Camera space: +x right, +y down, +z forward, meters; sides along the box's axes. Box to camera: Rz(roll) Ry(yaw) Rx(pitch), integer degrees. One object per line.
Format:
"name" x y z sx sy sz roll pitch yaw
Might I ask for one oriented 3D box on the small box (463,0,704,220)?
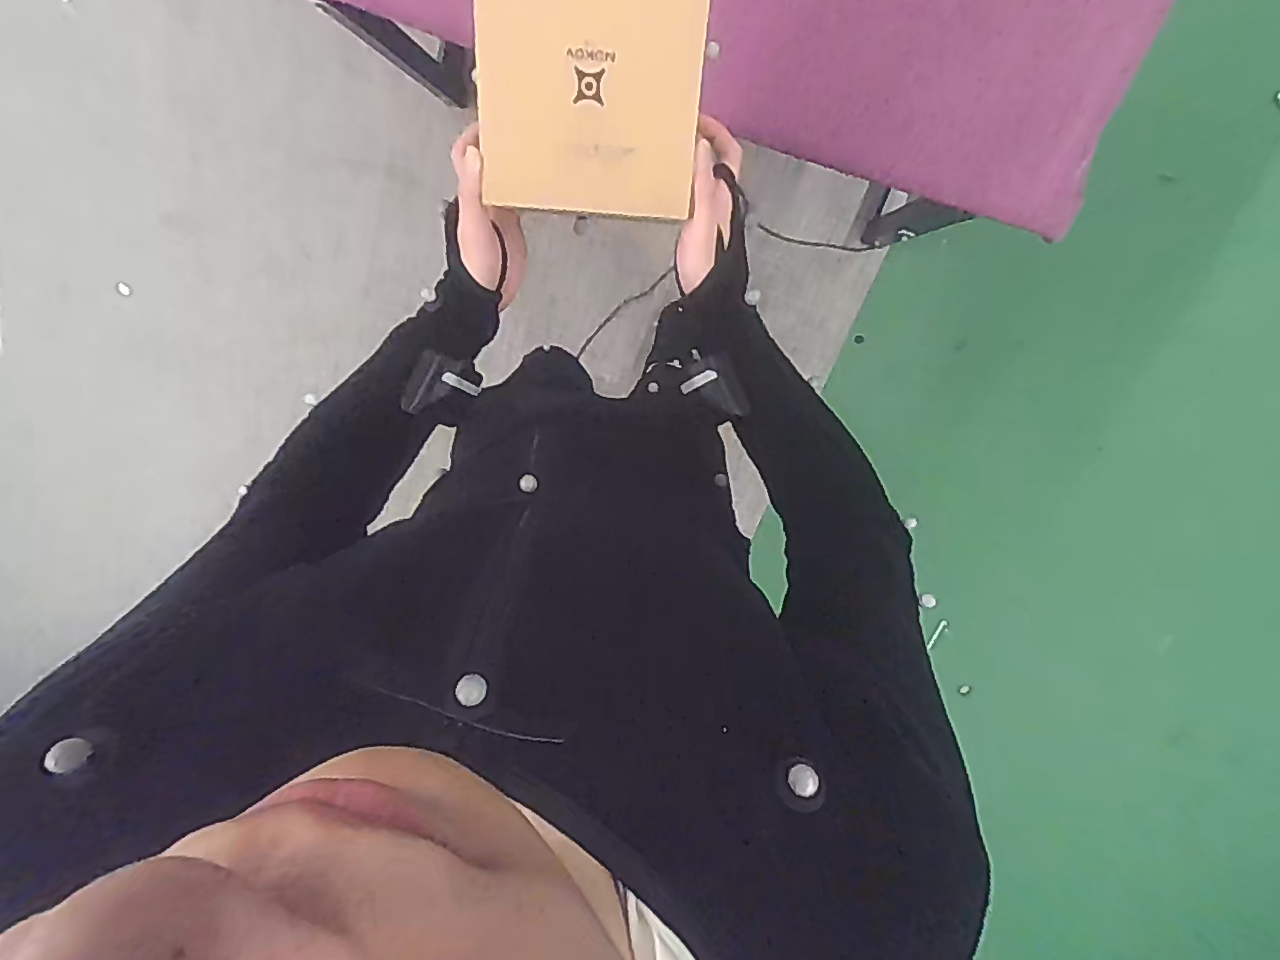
"small box" -0.041 -0.324 0.454 0.168 0.176 0.179 5 115 0
